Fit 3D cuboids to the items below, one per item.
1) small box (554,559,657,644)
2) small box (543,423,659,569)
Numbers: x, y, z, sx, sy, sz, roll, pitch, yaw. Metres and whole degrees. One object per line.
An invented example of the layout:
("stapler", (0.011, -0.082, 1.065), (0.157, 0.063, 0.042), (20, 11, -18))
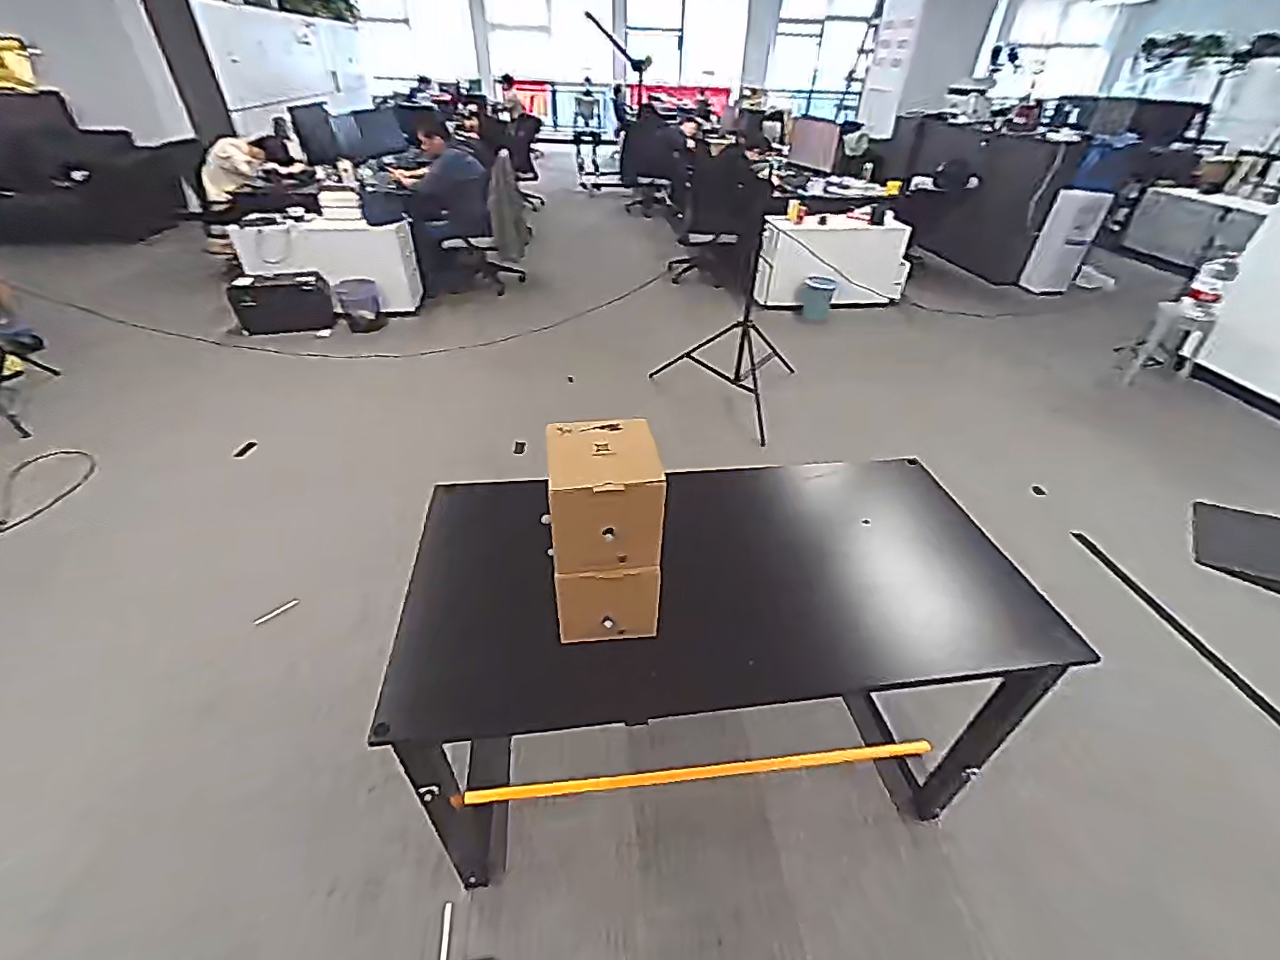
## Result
("small box", (-0.064, 0.165, 0.959), (0.168, 0.176, 0.179), (-3, 38, -6))
("small box", (-0.064, 0.029, 0.867), (0.168, 0.176, 0.179), (-5, 38, -8))
